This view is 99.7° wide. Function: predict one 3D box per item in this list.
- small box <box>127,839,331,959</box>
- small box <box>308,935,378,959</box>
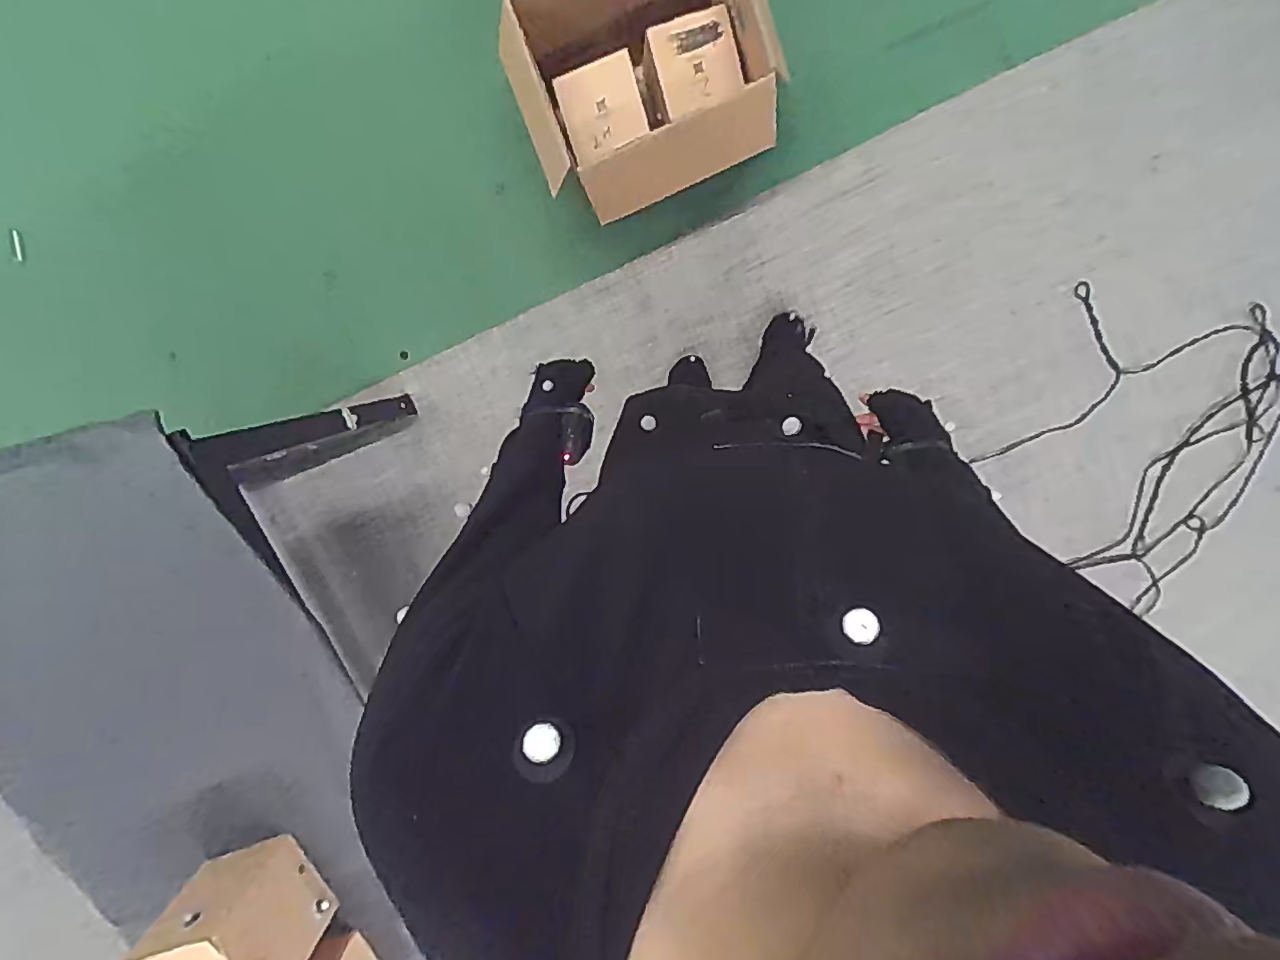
[{"bbox_3d":[-0.624,0.706,0.843,0.179,0.176,0.168,-22,102,8],"label":"small box"},{"bbox_3d":[-0.535,0.905,0.891,0.179,0.176,0.168,-23,102,8],"label":"small box"}]
